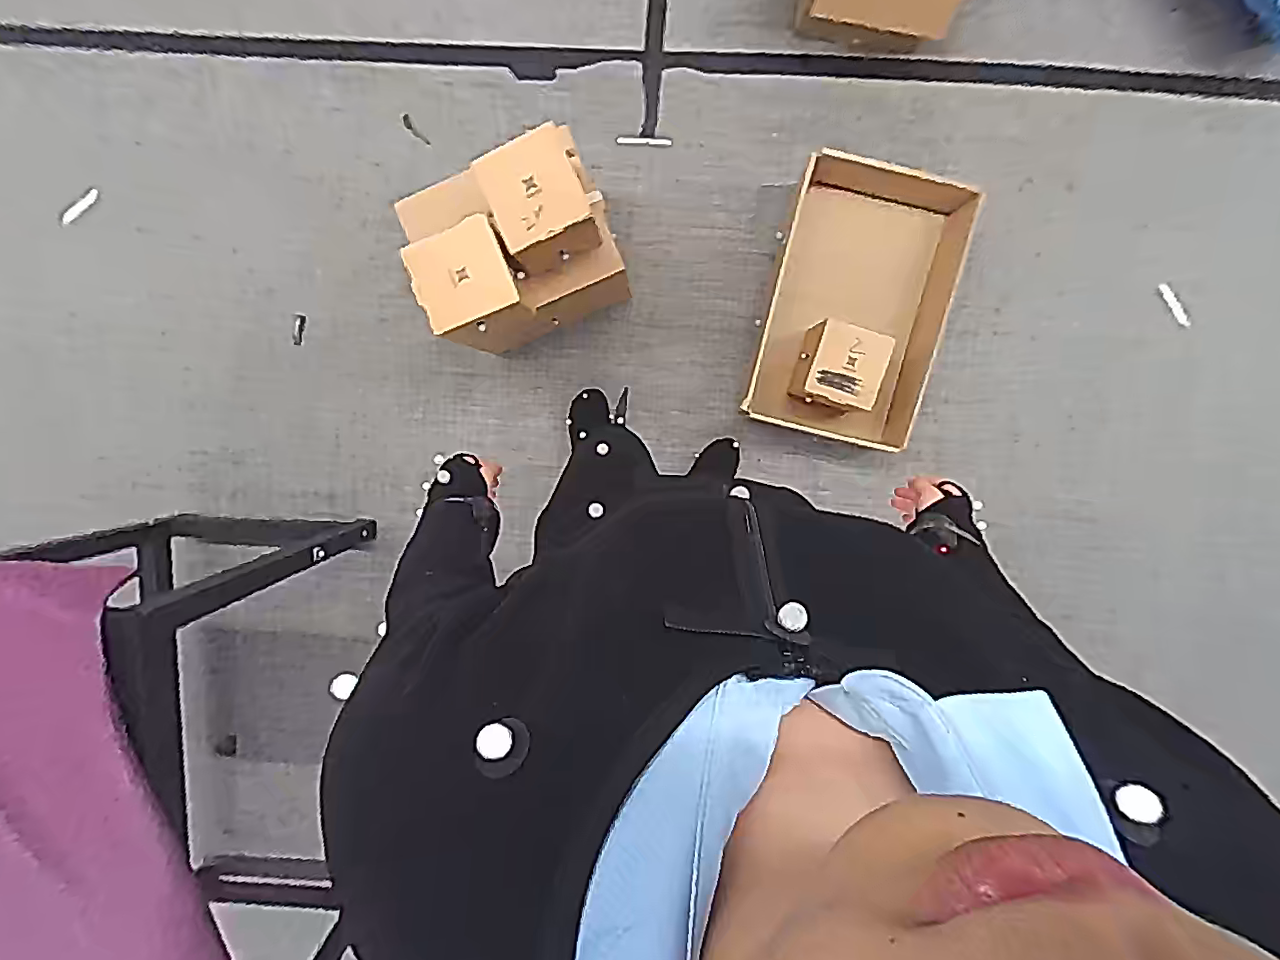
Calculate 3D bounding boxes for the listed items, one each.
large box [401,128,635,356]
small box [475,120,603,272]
[{"bbox_3d":[-0.259,-0.526,1.282,0.408,0.320,0.320,-22,95,5],"label":"large box"},{"bbox_3d":[-0.183,-0.527,1.030,0.168,0.176,0.179,-23,97,6],"label":"small box"}]
